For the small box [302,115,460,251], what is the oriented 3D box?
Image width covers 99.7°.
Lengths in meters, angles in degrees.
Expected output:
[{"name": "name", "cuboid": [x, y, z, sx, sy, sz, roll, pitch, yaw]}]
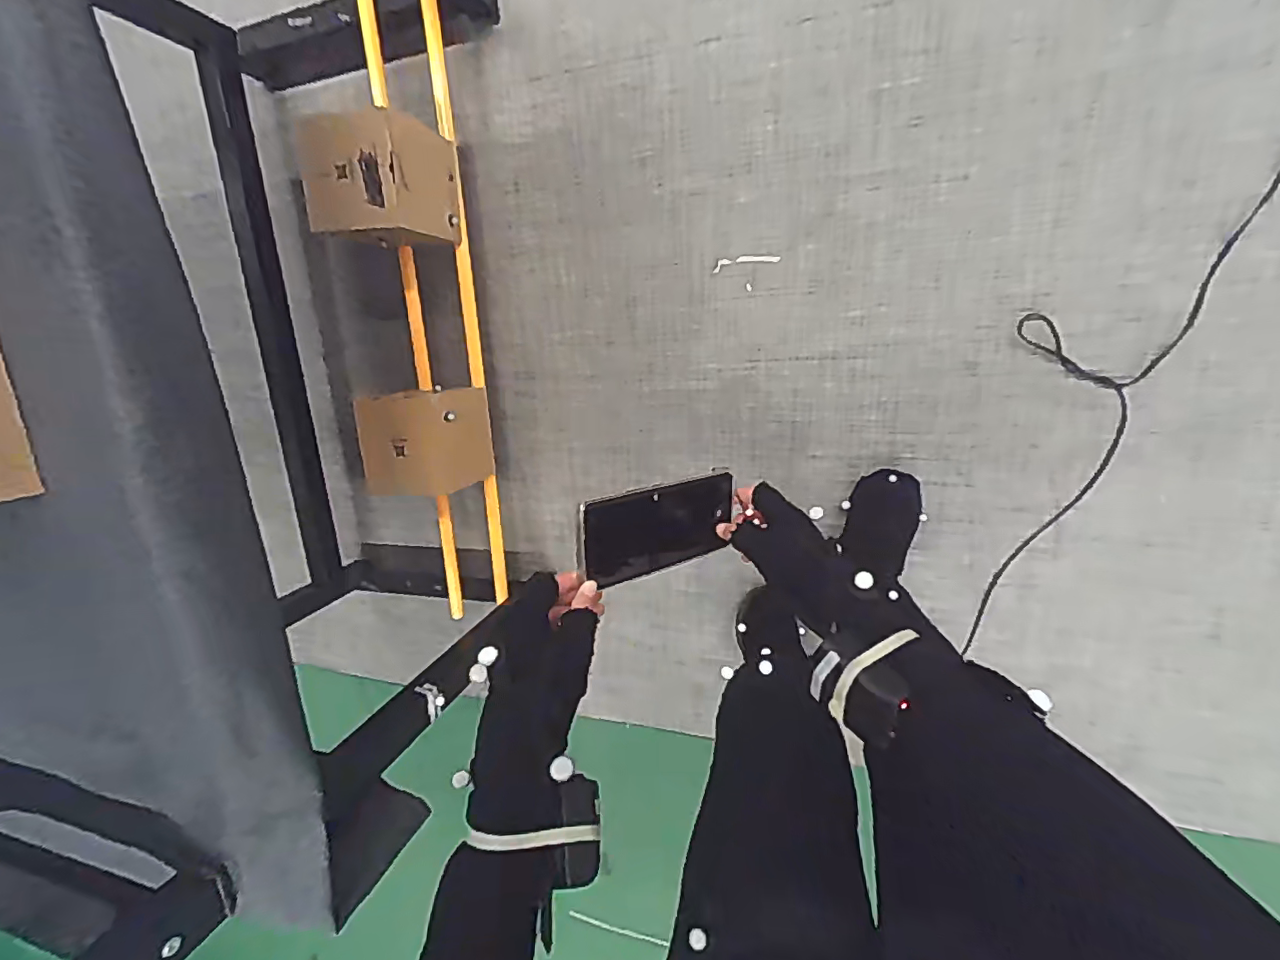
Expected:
[{"name": "small box", "cuboid": [-0.422, -0.488, 0.913, 0.179, 0.176, 0.168, 5, 105, 16]}]
